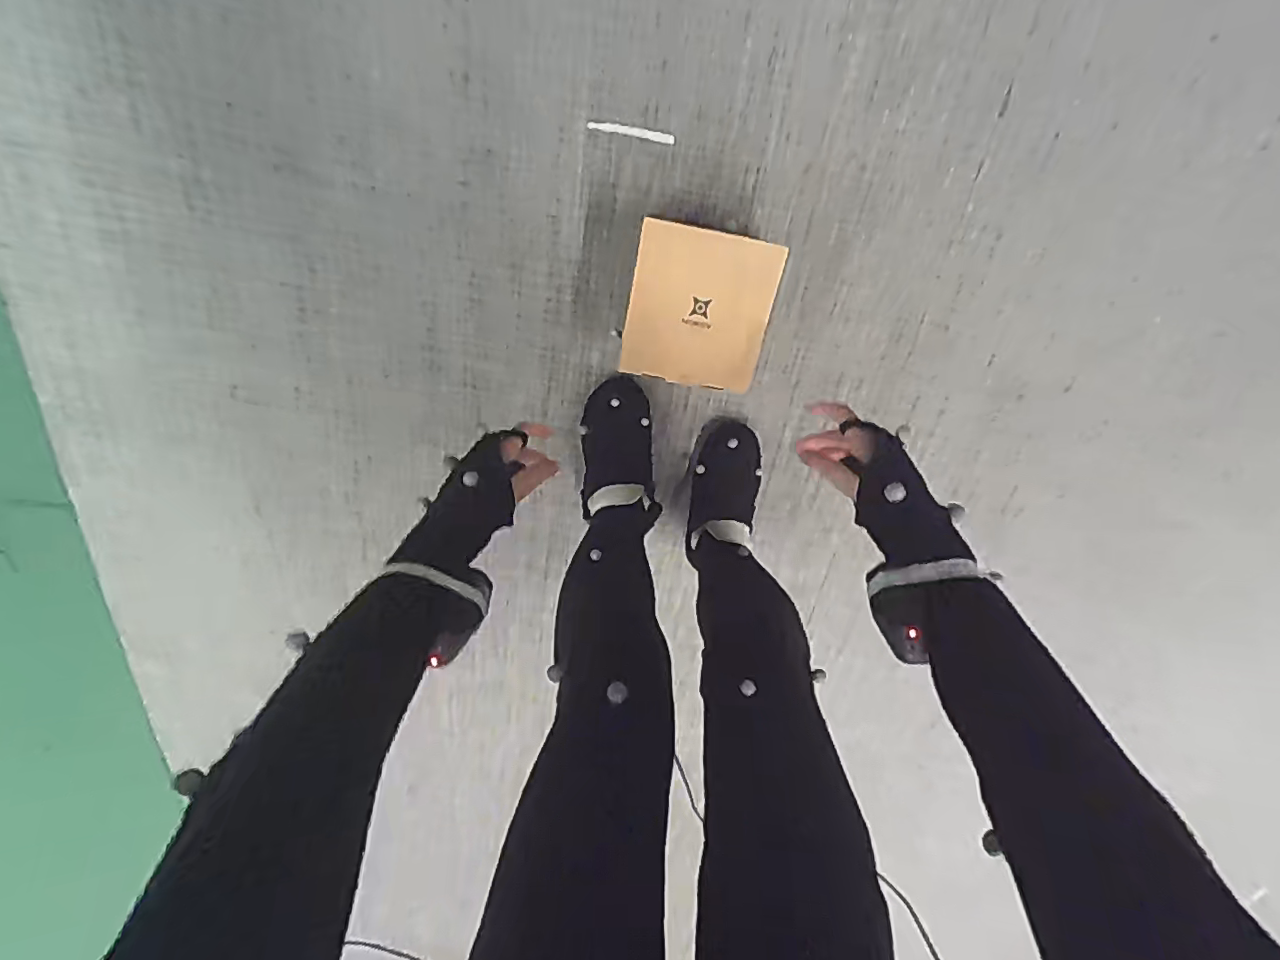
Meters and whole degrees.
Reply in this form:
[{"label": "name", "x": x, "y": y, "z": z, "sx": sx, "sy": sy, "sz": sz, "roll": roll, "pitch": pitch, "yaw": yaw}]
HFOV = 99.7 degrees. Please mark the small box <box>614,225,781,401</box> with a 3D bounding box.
[{"label": "small box", "x": 0.062, "y": -0.222, "z": 0.696, "sx": 0.168, "sy": 0.176, "sz": 0.179, "roll": 9, "pitch": 117, "yaw": -4}]
